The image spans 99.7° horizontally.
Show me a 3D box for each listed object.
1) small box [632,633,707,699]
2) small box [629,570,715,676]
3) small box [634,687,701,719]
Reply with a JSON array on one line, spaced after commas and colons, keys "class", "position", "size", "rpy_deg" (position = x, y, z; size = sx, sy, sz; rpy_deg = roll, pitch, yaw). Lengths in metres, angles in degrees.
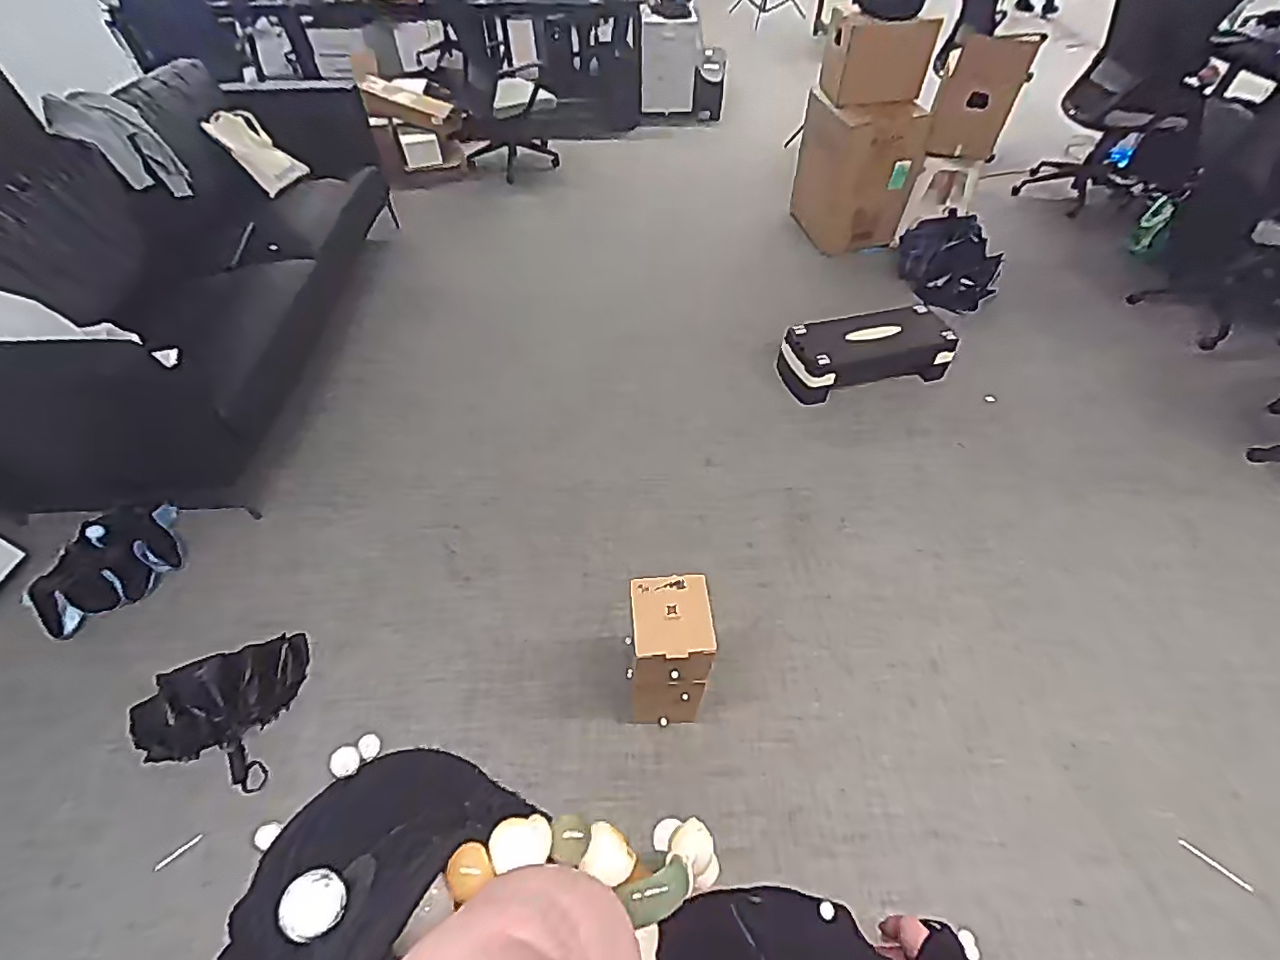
[{"class": "small box", "position": [0.066, 0.419, 1.308], "size": [0.168, 0.176, 0.179], "rpy_deg": [-2, 50, -2]}, {"class": "small box", "position": [0.066, 0.318, 1.179], "size": [0.168, 0.176, 0.179], "rpy_deg": [-4, 53, -3]}, {"class": "small box", "position": [0.068, 0.519, 1.435], "size": [0.168, 0.176, 0.179], "rpy_deg": [-2, 52, 0]}]
